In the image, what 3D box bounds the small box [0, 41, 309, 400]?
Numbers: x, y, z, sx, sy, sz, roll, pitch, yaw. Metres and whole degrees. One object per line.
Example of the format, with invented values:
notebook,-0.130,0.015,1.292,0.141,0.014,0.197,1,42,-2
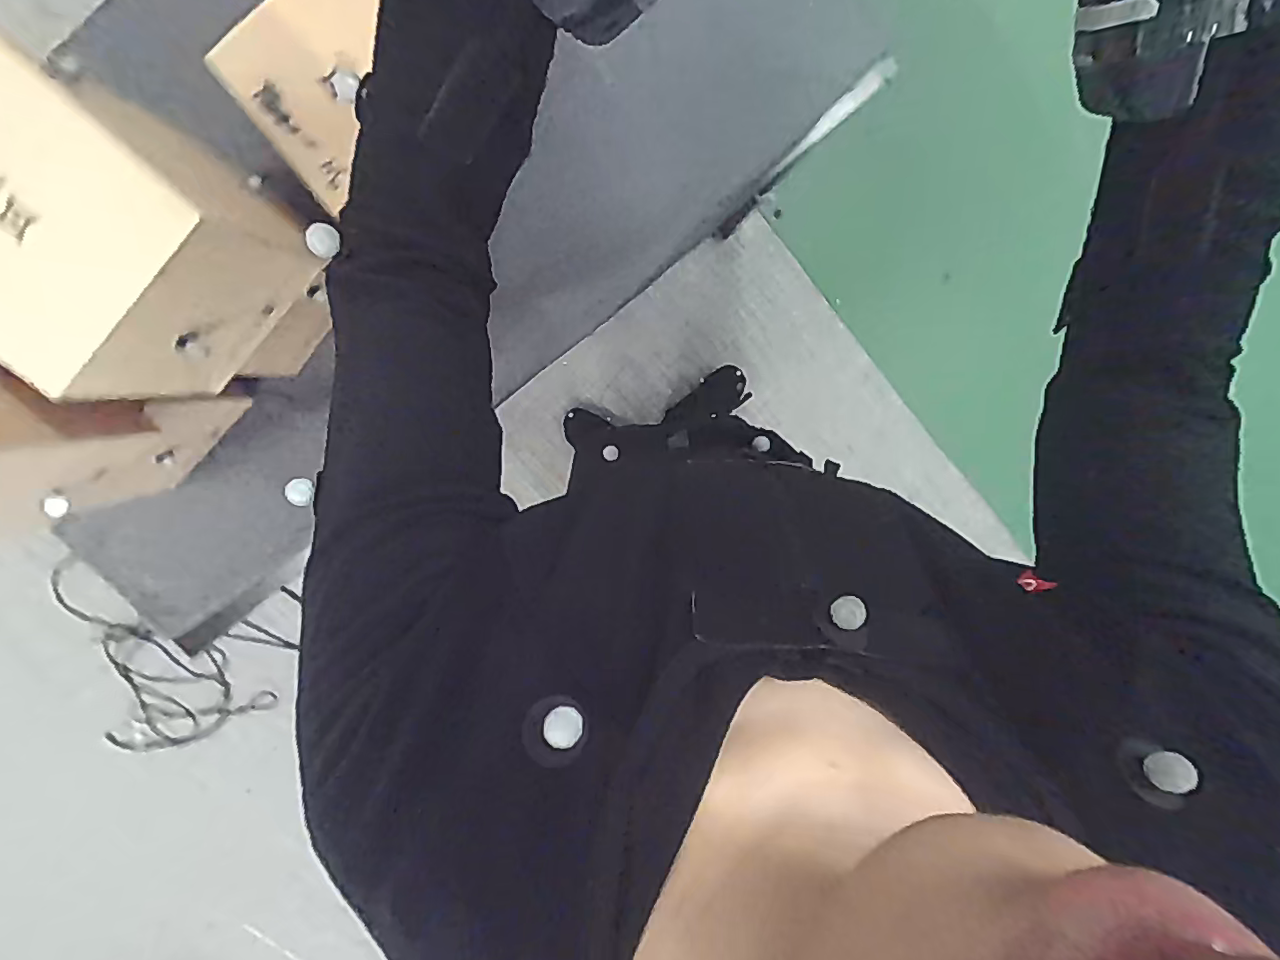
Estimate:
small box,-0.412,-0.183,0.423,0.179,0.176,0.168,42,94,-10
